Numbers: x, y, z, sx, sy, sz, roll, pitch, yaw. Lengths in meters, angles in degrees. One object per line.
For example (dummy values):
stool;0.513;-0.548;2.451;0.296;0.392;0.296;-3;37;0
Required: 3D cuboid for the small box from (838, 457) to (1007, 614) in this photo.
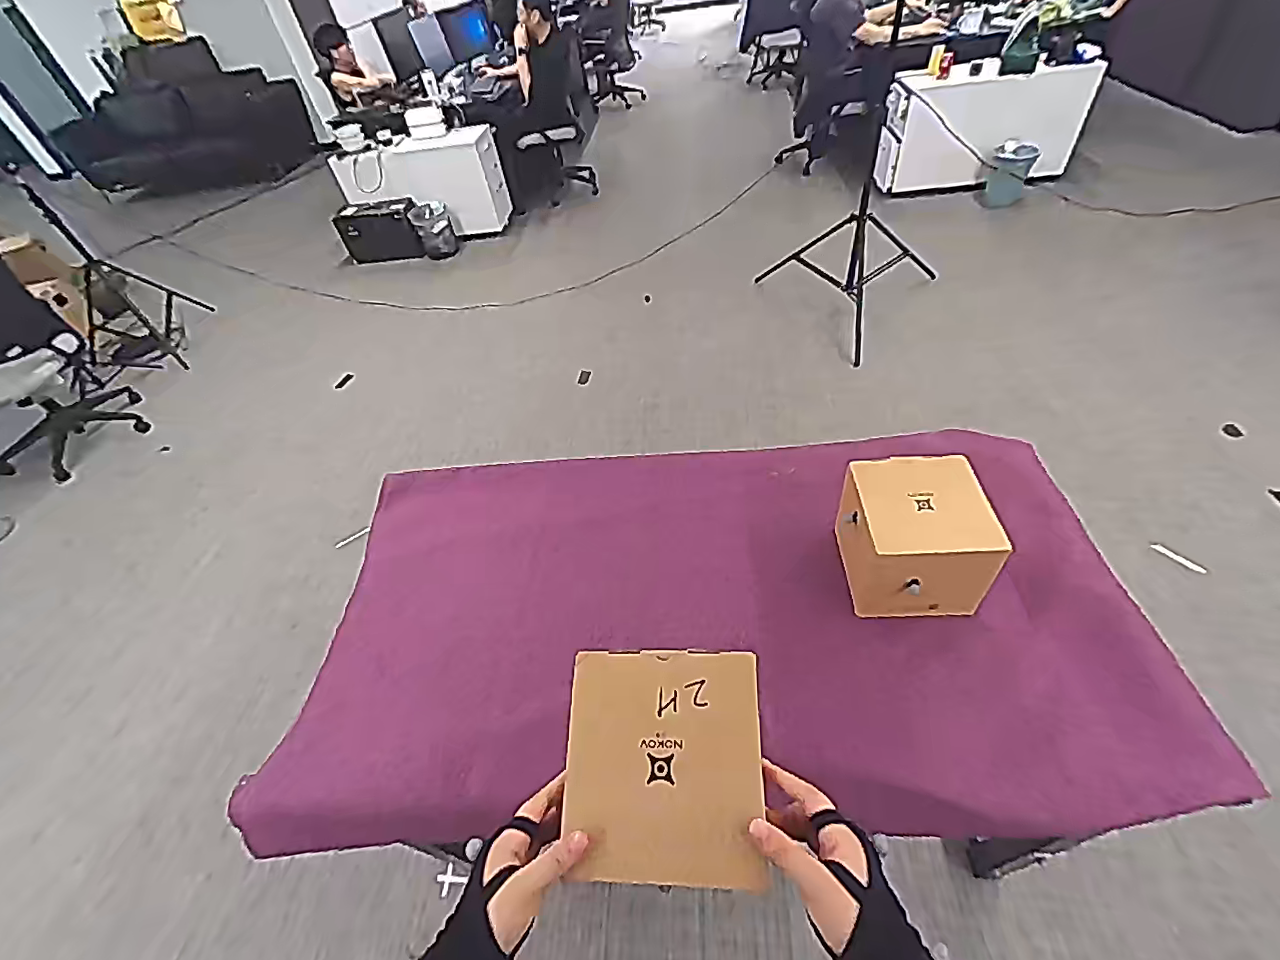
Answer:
small box;0.402;0.088;0.807;0.168;0.176;0.179;-3;45;8
